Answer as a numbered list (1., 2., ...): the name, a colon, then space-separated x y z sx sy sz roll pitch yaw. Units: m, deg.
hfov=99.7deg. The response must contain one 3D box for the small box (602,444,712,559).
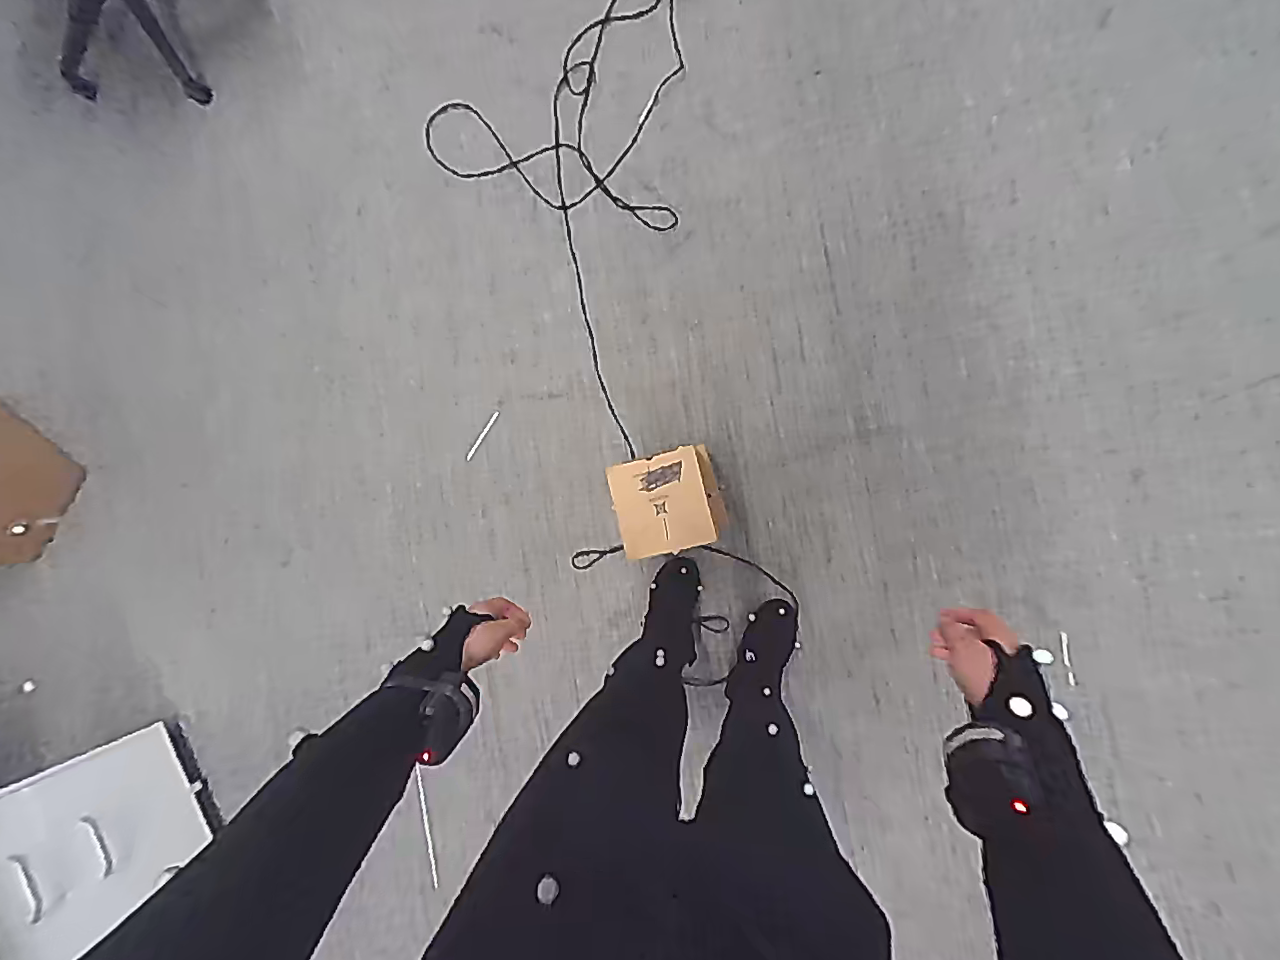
1. small box: 0.038 0.040 1.026 0.168 0.176 0.179 -14 88 9

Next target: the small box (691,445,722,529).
1. small box: 0.080 0.033 1.186 0.168 0.176 0.179 -18 86 8
